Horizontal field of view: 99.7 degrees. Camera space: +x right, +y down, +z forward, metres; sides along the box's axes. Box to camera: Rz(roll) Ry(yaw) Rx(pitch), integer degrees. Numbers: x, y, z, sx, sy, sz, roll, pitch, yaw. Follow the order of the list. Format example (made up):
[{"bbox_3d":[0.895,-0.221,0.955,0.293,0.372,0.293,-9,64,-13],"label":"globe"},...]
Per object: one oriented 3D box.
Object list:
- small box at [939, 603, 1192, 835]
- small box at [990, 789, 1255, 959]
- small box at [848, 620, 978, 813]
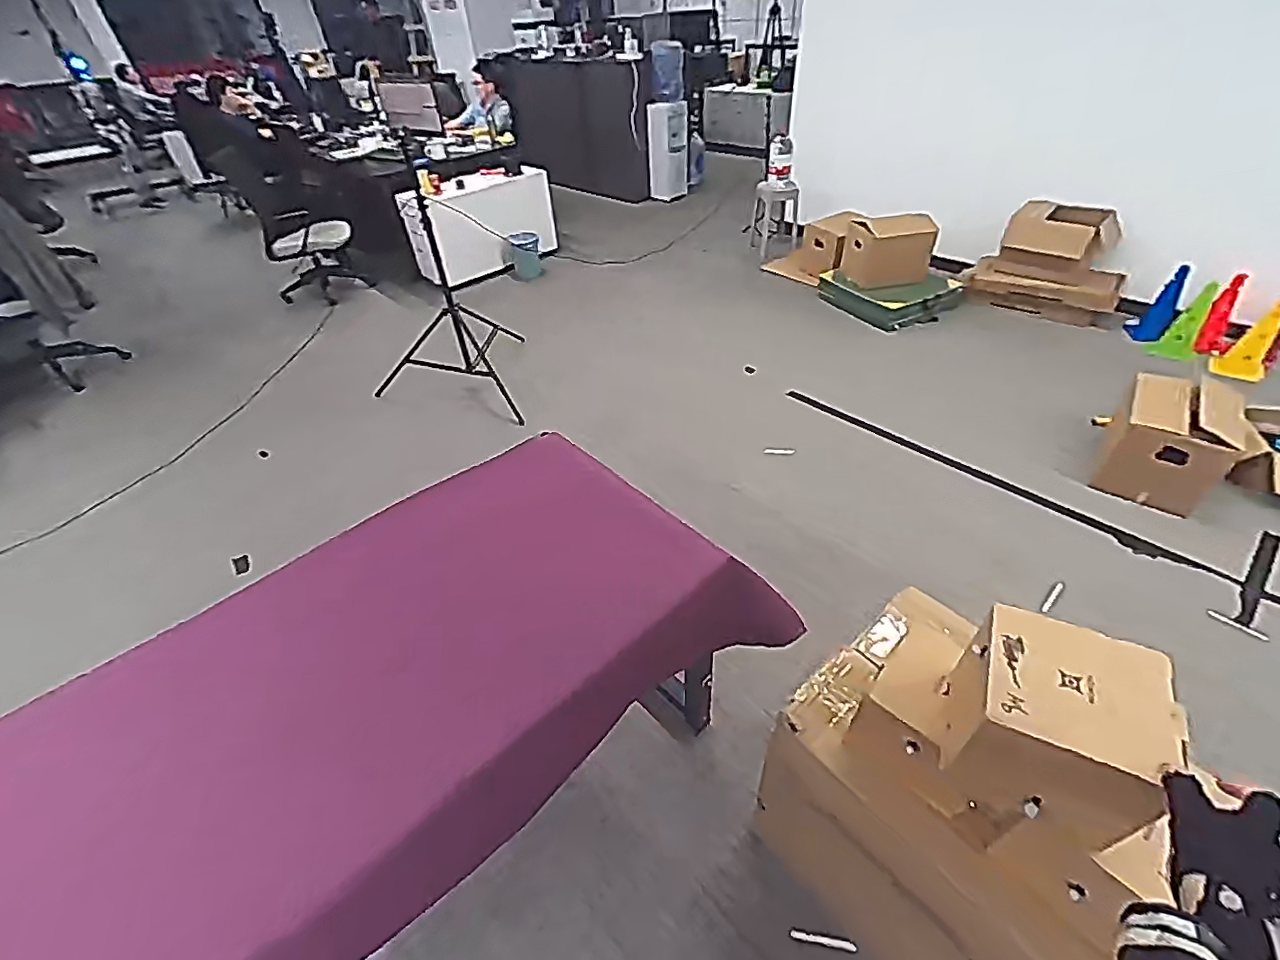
[{"bbox_3d":[0.483,0.284,0.640,0.179,0.176,0.168,17,46,23],"label":"small box"},{"bbox_3d":[0.587,0.458,0.679,0.168,0.176,0.179,-32,46,-27],"label":"small box"},{"bbox_3d":[0.439,0.355,0.812,0.179,0.176,0.168,32,54,32],"label":"small box"}]
